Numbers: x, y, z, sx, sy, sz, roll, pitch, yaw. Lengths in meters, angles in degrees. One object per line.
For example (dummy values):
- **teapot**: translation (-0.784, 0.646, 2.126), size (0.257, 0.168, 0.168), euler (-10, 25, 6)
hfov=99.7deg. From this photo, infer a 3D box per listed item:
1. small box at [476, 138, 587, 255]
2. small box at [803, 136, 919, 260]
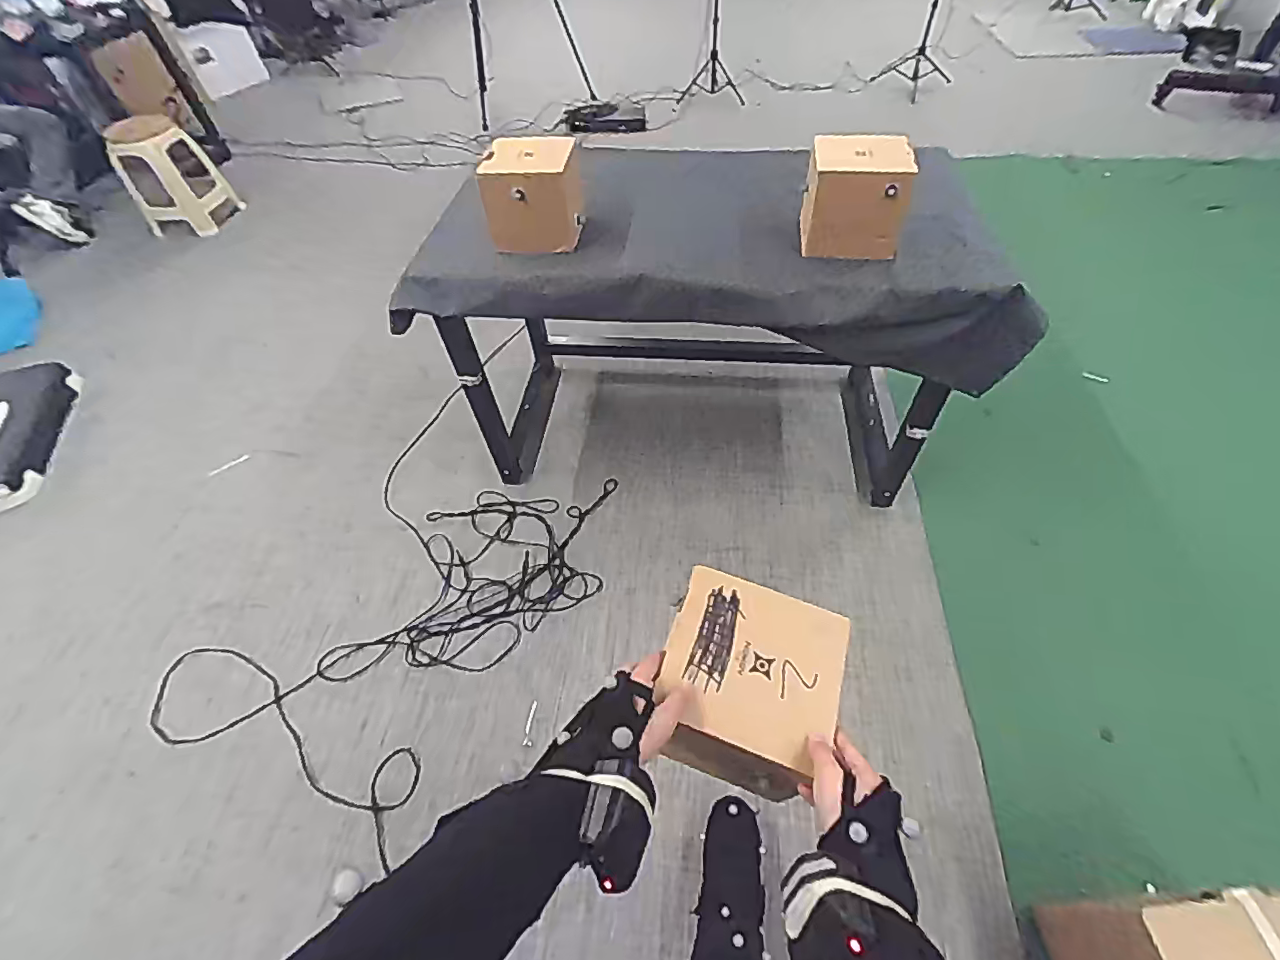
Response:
- **small box**: translation (-0.218, -0.594, 1.139), size (0.179, 0.176, 0.168), euler (3, 53, 5)
- **small box**: translation (0.419, -0.550, 1.060), size (0.179, 0.176, 0.168), euler (5, 52, 8)
